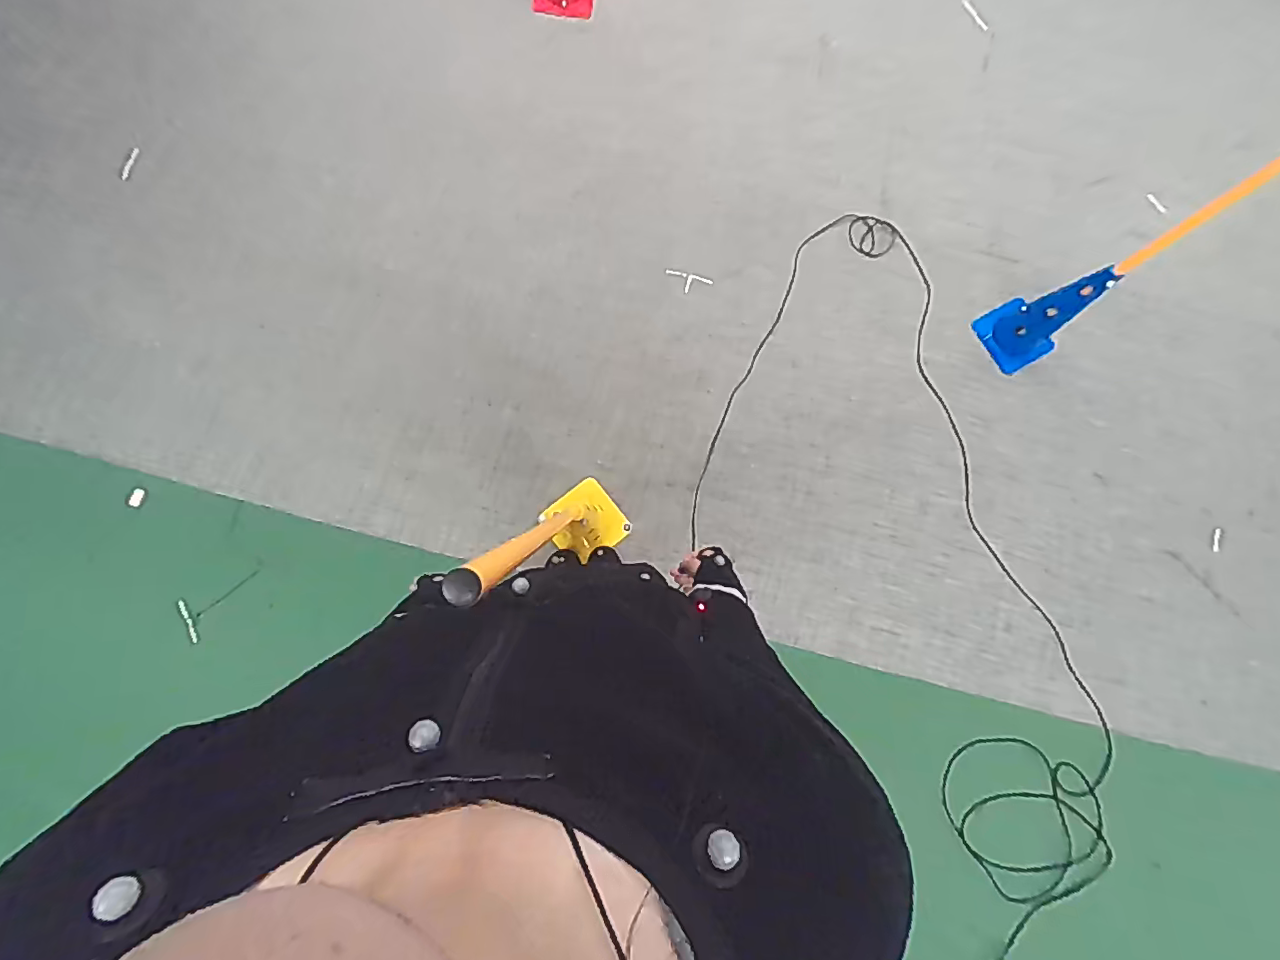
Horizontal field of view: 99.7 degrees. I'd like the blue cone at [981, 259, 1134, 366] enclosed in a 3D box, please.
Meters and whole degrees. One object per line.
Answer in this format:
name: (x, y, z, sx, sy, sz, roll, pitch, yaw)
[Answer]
blue cone: (1.164, -0.493, 1.491, 0.193, 0.380, 0.192, -30, 83, -9)
